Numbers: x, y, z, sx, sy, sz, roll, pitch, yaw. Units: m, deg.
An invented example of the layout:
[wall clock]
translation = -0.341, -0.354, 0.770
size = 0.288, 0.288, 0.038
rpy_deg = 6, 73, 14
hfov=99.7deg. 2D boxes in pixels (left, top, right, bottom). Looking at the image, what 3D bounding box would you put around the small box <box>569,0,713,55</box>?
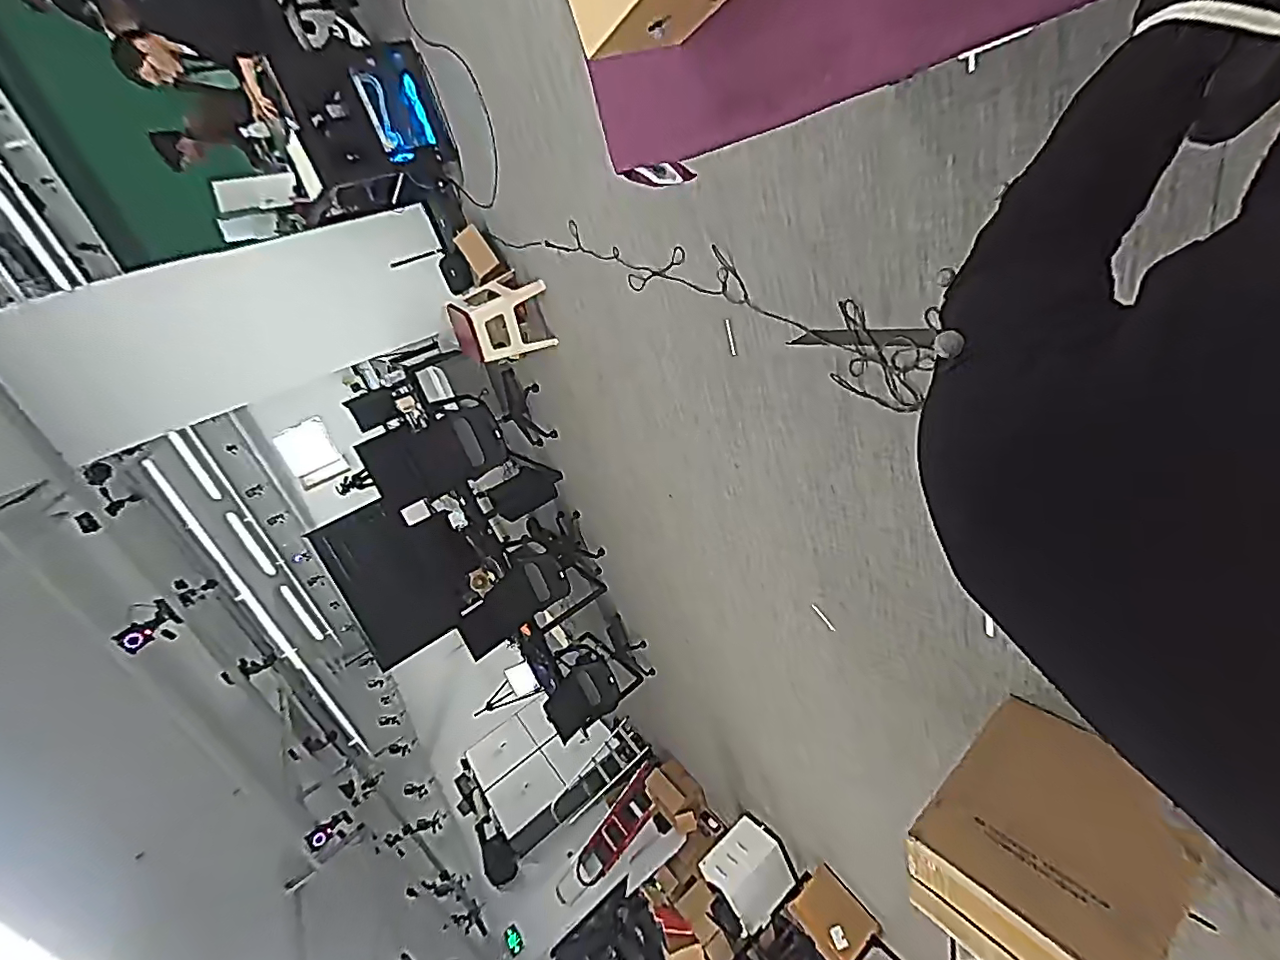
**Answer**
[small box]
translation = 0.009, -0.654, 0.637
size = 0.168, 0.176, 0.179
rpy_deg = 11, 127, 57
